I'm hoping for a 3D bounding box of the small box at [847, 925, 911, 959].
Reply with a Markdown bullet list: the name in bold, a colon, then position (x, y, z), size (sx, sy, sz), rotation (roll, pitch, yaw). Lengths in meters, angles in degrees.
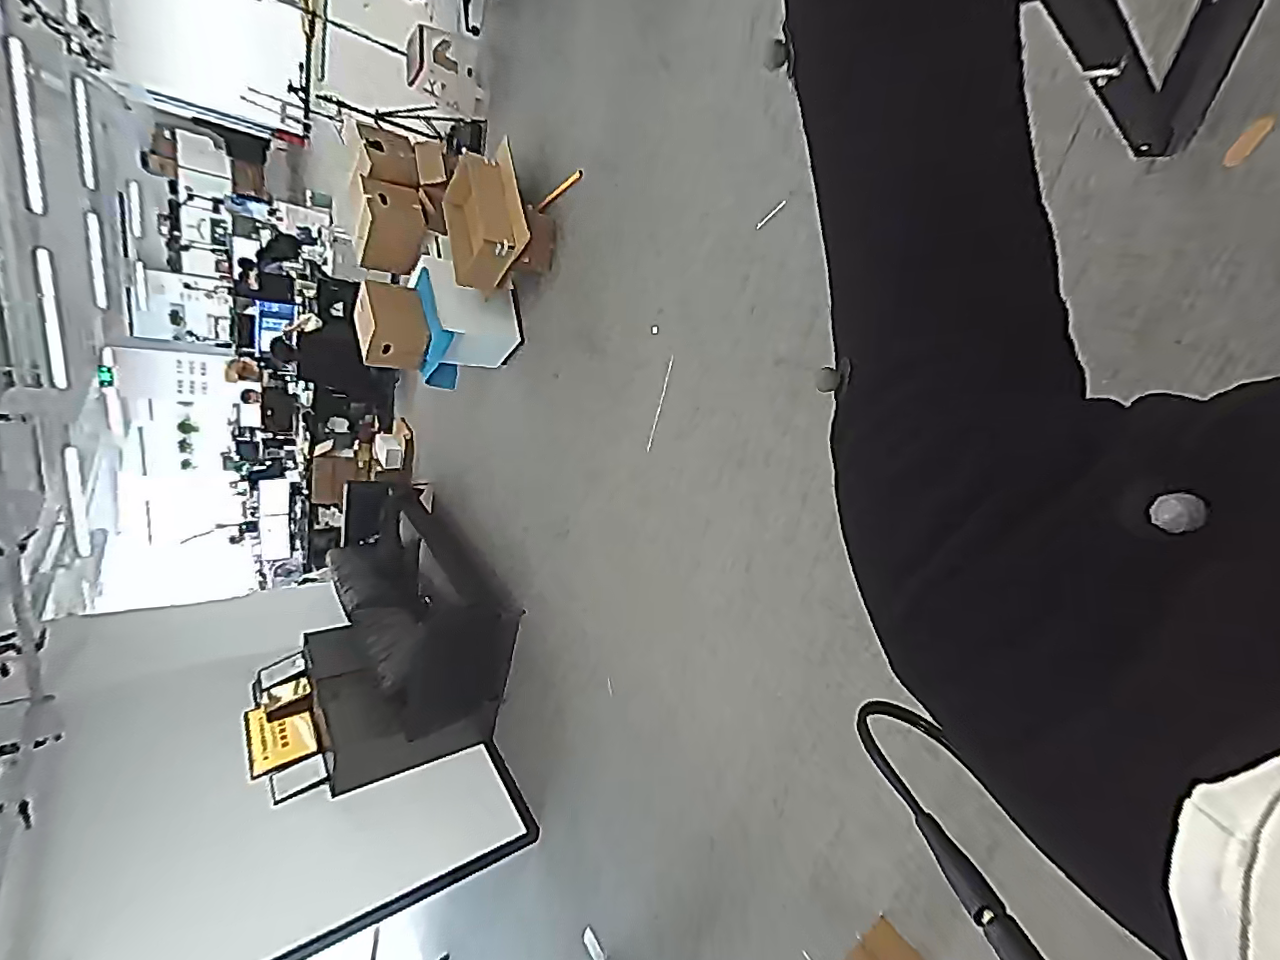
- **small box**: position (0.746, 1.550, 1.676), size (0.179, 0.176, 0.168), rotation (37, 119, 45)
